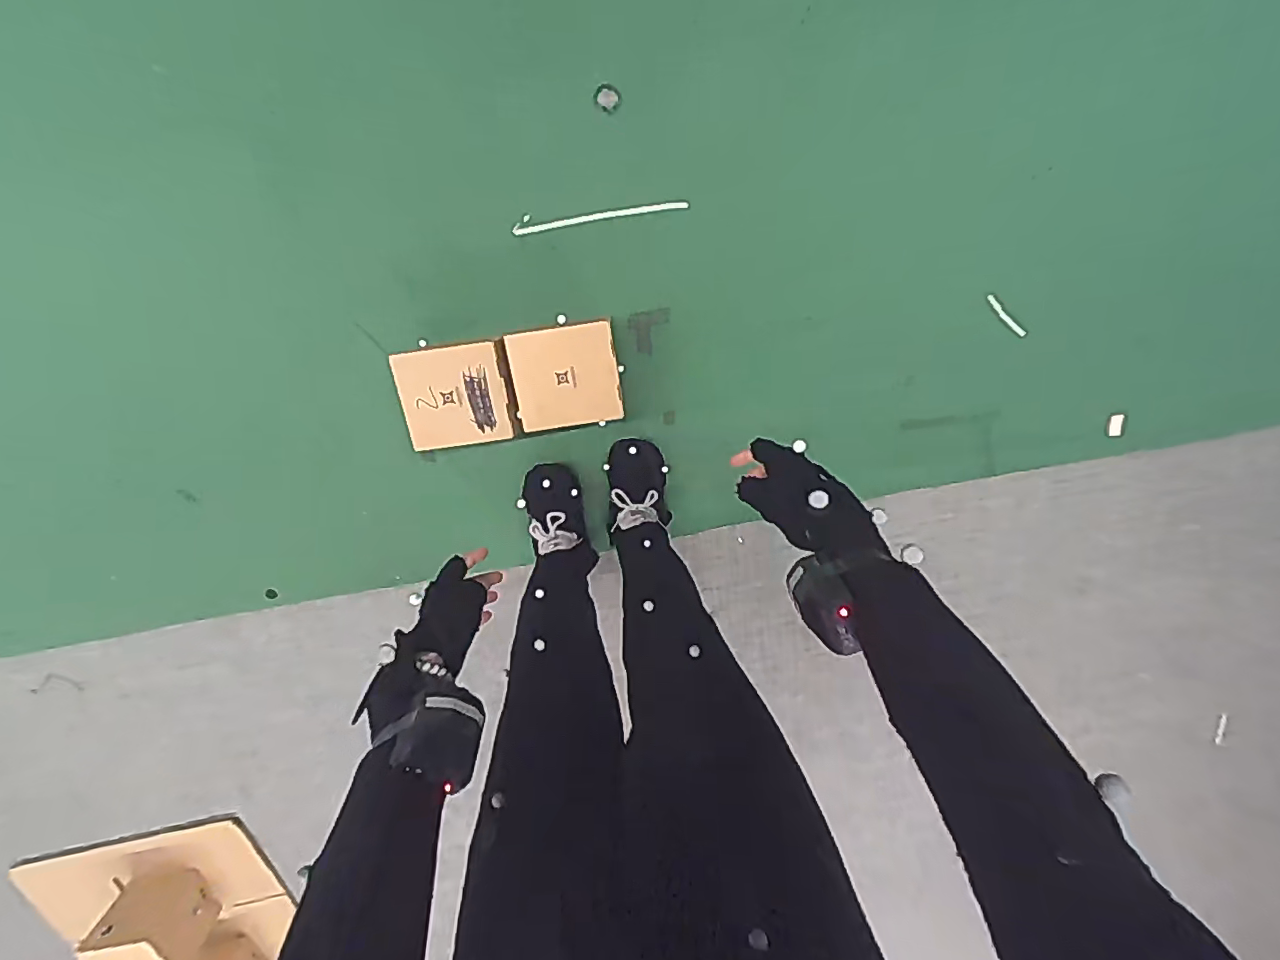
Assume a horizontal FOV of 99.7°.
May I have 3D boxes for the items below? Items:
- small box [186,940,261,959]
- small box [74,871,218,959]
[{"bbox_3d":[-1.144,1.379,1.444,0.179,0.176,0.168,-15,110,2],"label":"small box"},{"bbox_3d":[-1.221,1.126,1.352,0.179,0.176,0.168,-9,111,-1],"label":"small box"}]
